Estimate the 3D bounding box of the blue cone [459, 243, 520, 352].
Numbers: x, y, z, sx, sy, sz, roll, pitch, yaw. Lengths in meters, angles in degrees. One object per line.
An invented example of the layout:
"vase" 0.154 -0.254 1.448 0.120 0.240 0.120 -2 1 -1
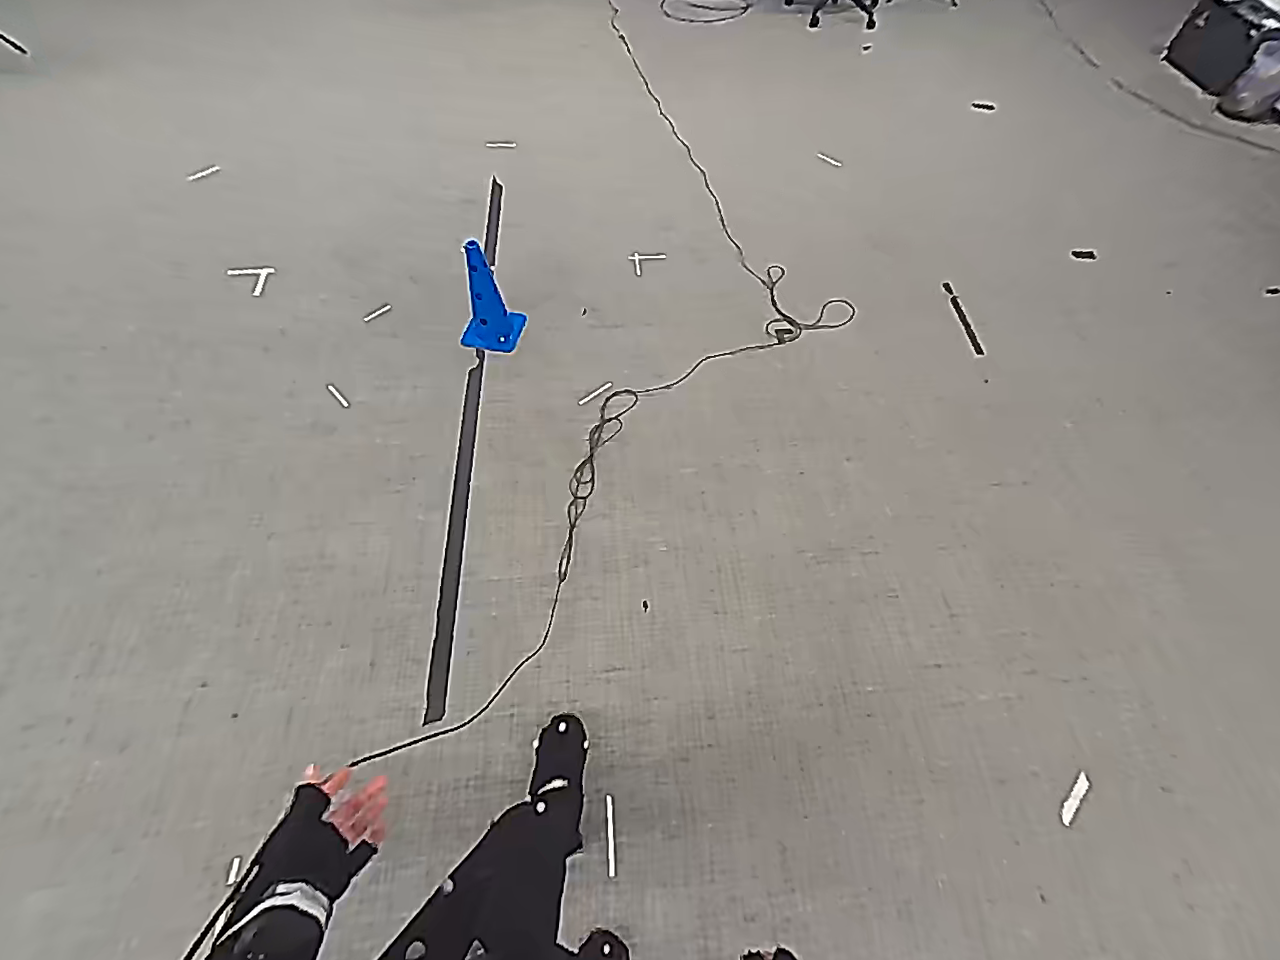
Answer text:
"blue cone" -0.545 -0.632 1.851 0.192 0.380 0.193 11 58 5
